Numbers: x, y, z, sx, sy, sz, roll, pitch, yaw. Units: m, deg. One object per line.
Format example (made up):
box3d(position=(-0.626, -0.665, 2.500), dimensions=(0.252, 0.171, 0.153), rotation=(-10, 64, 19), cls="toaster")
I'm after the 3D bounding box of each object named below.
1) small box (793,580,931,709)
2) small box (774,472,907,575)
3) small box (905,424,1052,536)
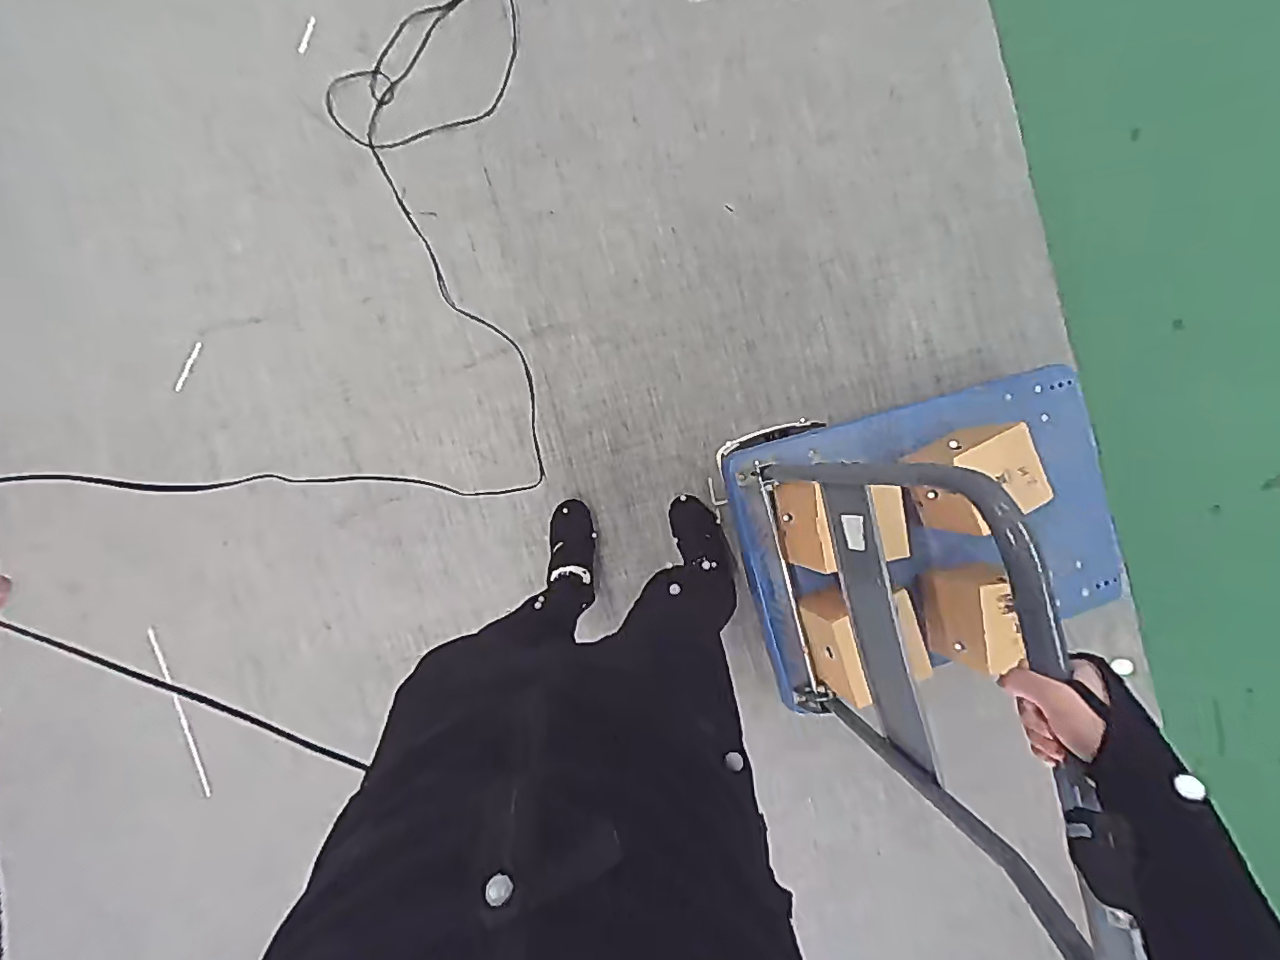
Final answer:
box3d(position=(0.425, 0.309, 1.062), dimensions=(0.168, 0.176, 0.179), rotation=(-19, 95, -9), cls="small box")
box3d(position=(0.386, 0.076, 1.057), dimensions=(0.179, 0.176, 0.168), rotation=(-9, 93, -9), cls="small box")
box3d(position=(0.676, 0.000, 1.107), dimensions=(0.179, 0.176, 0.168), rotation=(-25, 95, -9), cls="small box")
